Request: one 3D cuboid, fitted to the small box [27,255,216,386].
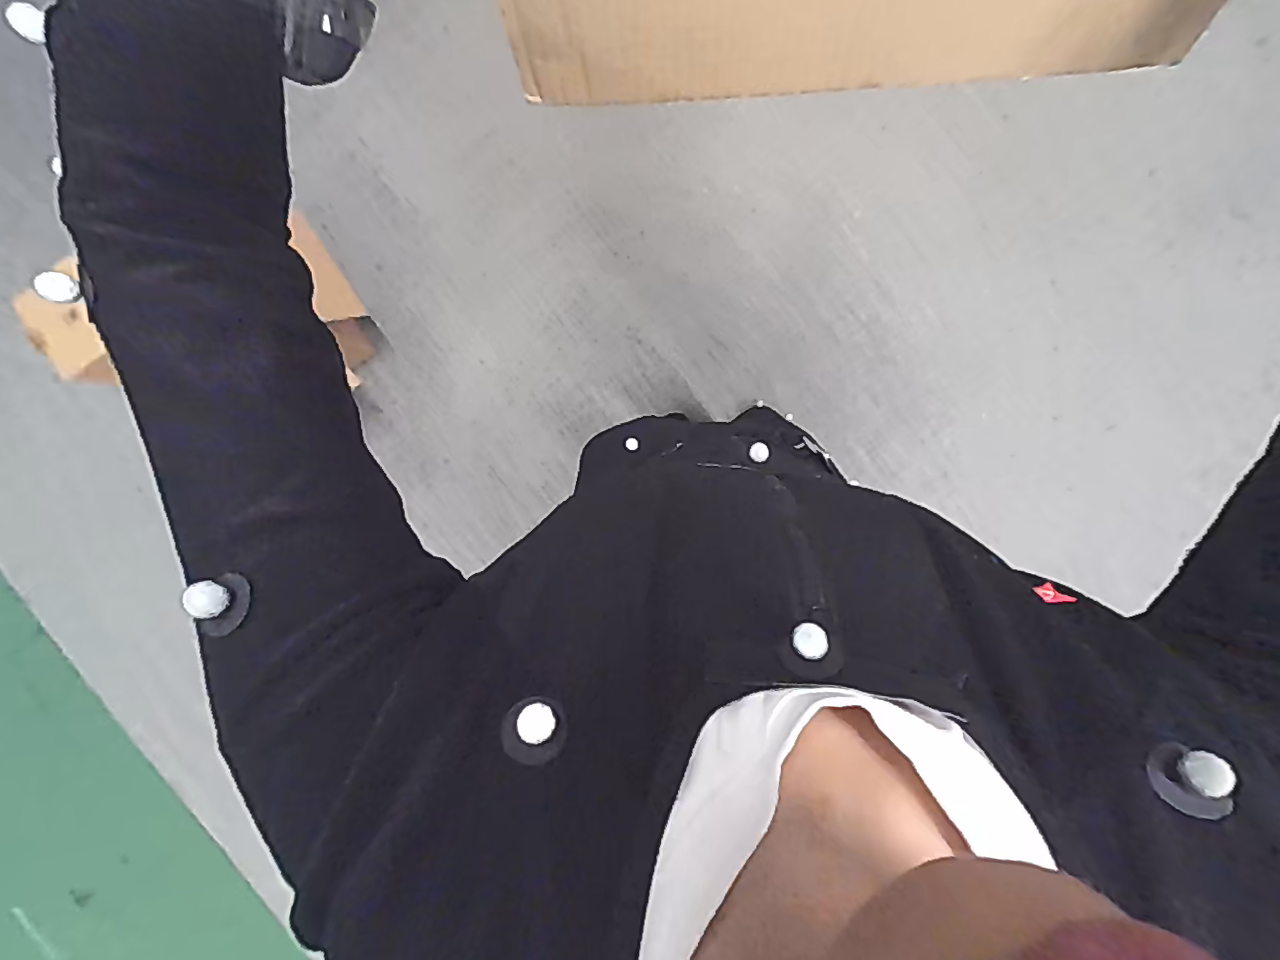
[{"bbox_3d":[-0.998,-0.299,1.057,0.179,0.176,0.168,-34,94,7],"label":"small box"}]
